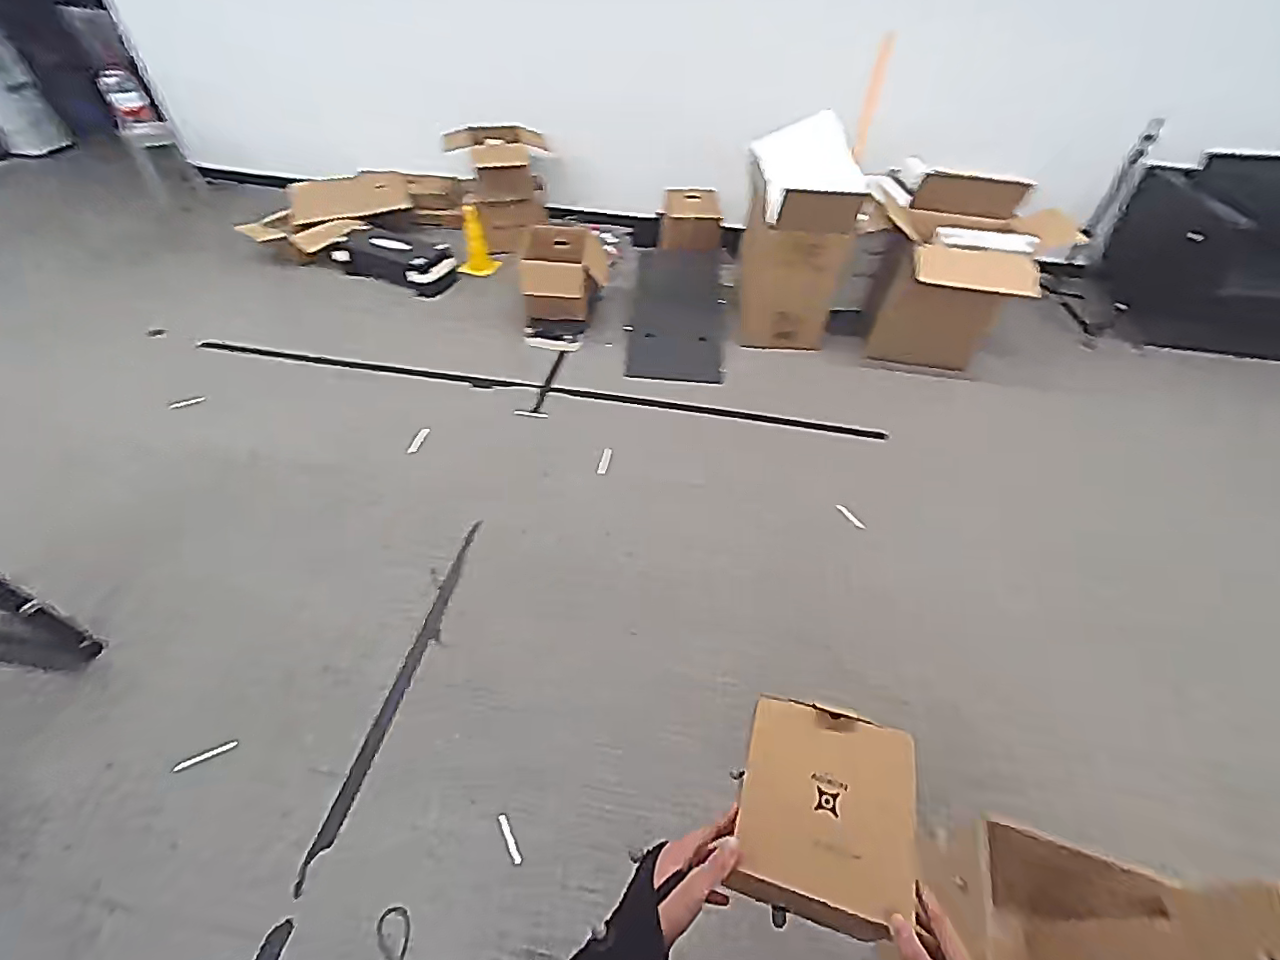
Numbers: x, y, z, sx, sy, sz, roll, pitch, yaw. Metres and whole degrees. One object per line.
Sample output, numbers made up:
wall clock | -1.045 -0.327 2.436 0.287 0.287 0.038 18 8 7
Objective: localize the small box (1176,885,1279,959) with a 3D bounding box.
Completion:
small box | 0.765 0.587 0.597 0.168 0.176 0.179 16 50 10
